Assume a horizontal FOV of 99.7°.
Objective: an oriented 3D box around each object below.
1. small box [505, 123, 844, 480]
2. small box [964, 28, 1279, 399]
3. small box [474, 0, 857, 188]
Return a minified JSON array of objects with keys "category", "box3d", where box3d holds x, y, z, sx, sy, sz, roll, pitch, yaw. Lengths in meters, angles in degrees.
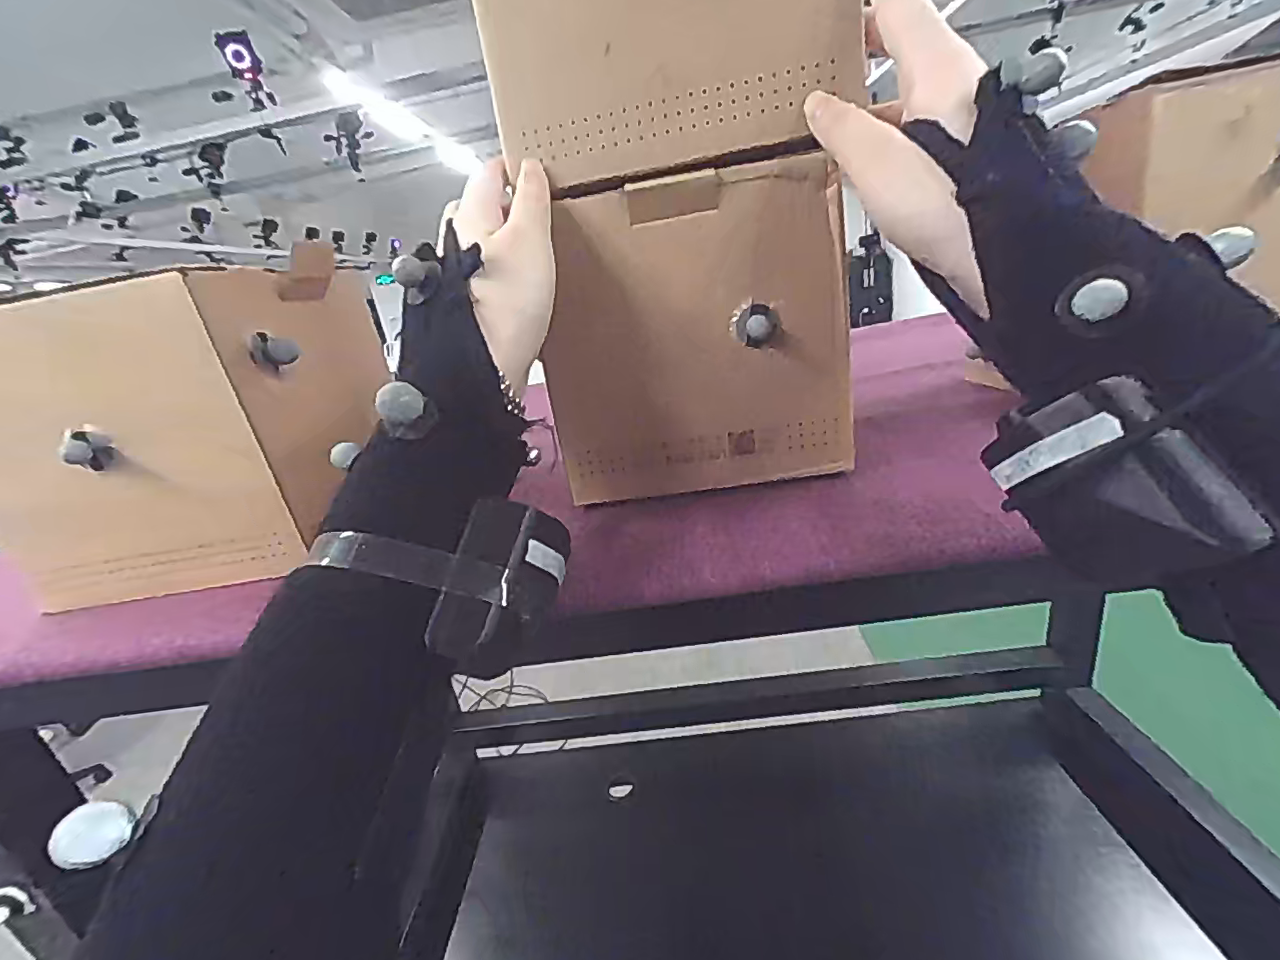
[{"category":"small box","box3d":[0.031,-0.102,0.362,0.168,0.176,0.179,-7,17,7]},{"category":"small box","box3d":[0.338,-0.154,0.343,0.179,0.176,0.168,-9,18,4]},{"category":"small box","box3d":[0.013,-0.257,0.308,0.179,0.176,0.168,-6,19,10]}]
